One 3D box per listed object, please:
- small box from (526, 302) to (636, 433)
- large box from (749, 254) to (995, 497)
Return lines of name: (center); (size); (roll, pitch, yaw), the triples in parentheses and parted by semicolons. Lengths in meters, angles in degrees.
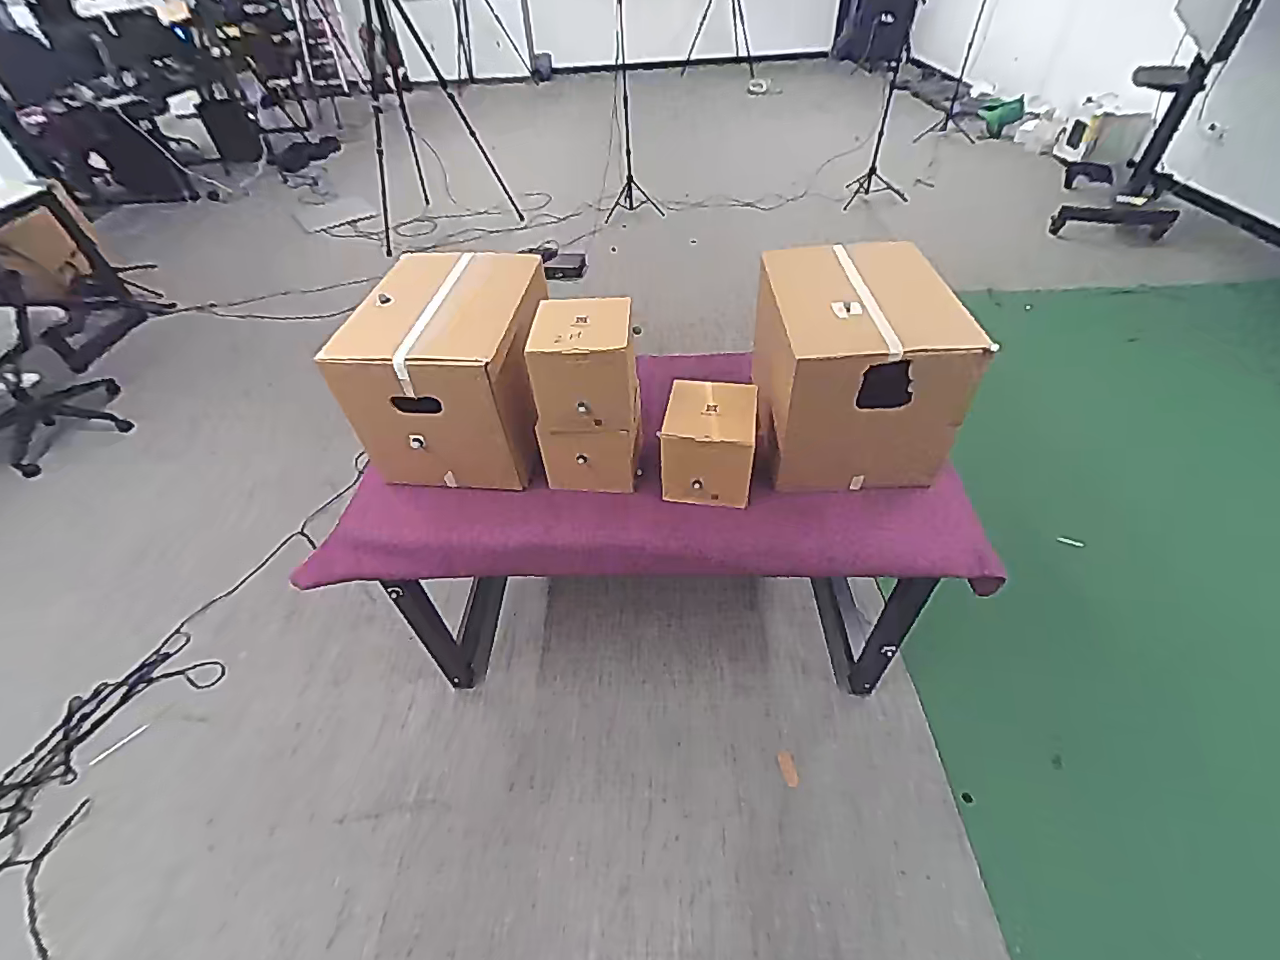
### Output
small box: (-0.096, -0.203, 0.973); (0.168, 0.176, 0.179); (-1, 45, 4)
large box: (0.413, -0.216, 1.094); (0.320, 0.320, 0.408); (-3, 46, 4)
